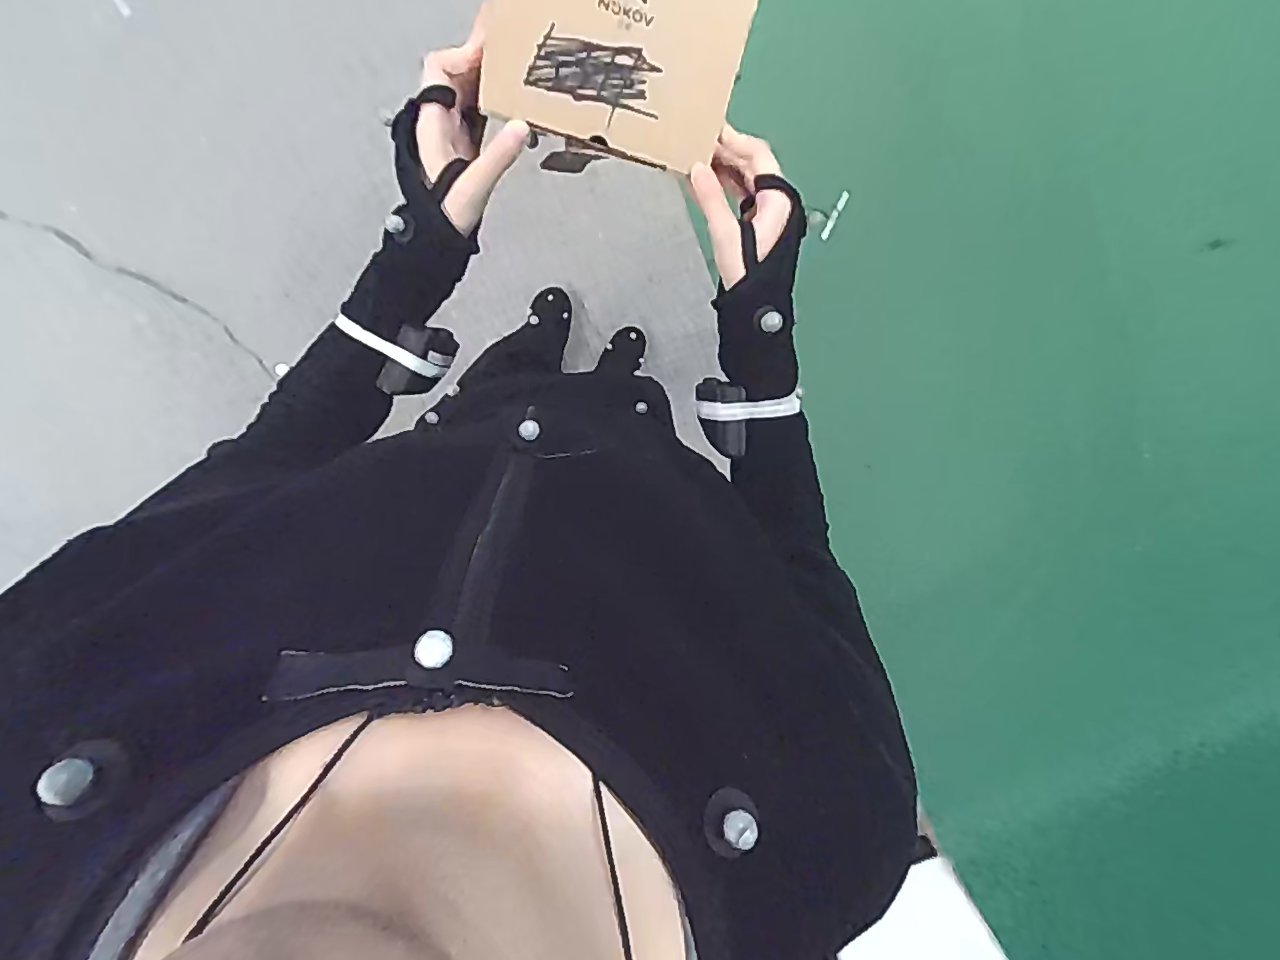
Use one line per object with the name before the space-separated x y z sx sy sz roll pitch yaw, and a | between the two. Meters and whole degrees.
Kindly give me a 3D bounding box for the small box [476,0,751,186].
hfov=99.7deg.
small box | -0.022 -0.345 0.410 0.168 0.176 0.179 8 119 -14
